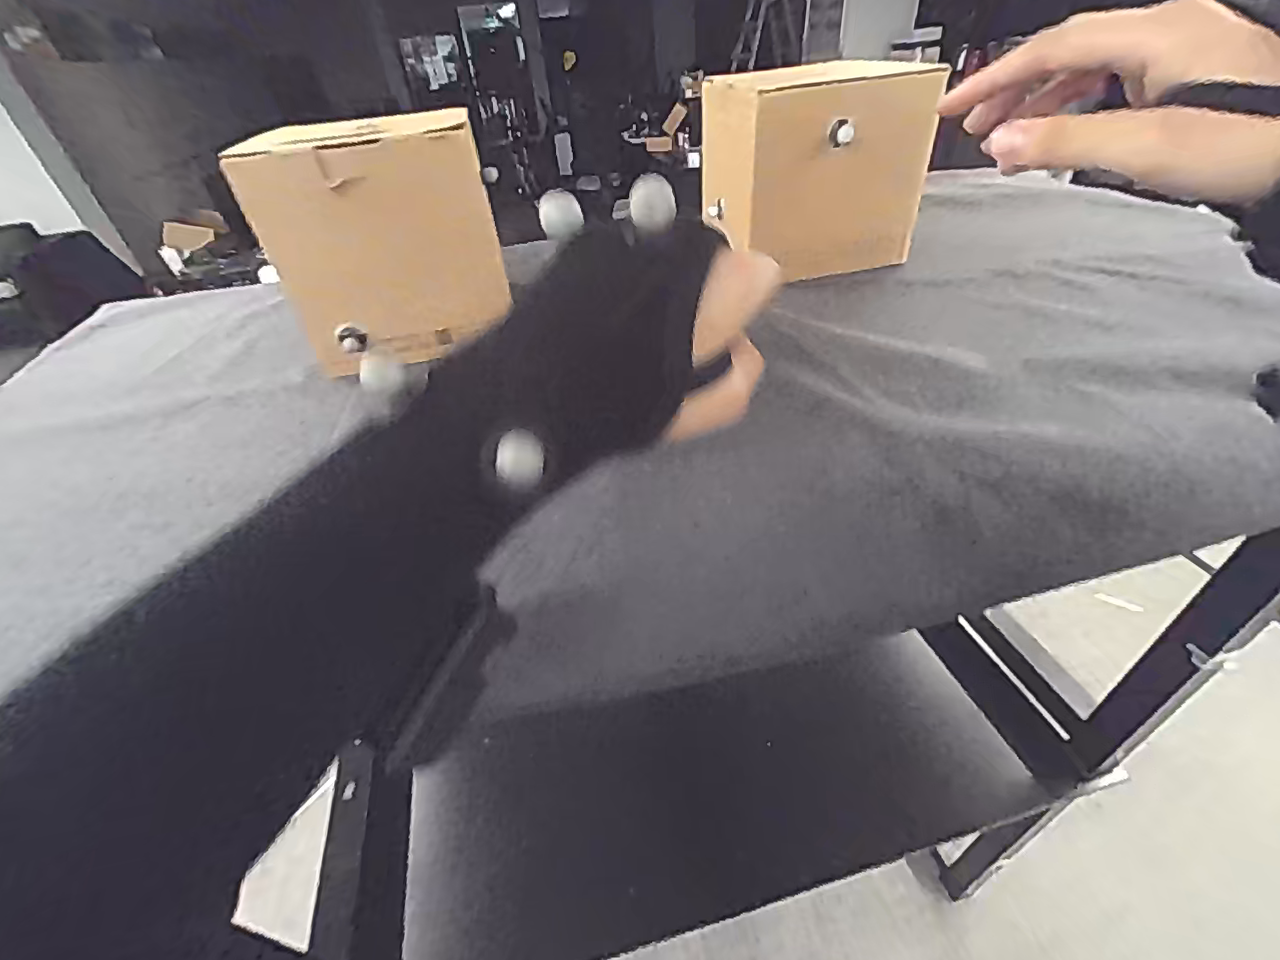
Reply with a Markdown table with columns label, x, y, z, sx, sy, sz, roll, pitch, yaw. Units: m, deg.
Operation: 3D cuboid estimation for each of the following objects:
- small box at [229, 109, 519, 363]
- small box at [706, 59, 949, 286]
| label | x | y | z | sx | sy | sz | roll | pitch | yaw |
| --- | --- | --- | --- | --- | --- | --- | --- | --- | --- |
| small box | -0.211 | -0.217 | 0.487 | 0.168 | 0.176 | 0.179 | -13 | 39 | -8 |
| small box | 0.173 | -0.321 | 0.562 | 0.179 | 0.176 | 0.168 | -11 | 40 | -5 |
